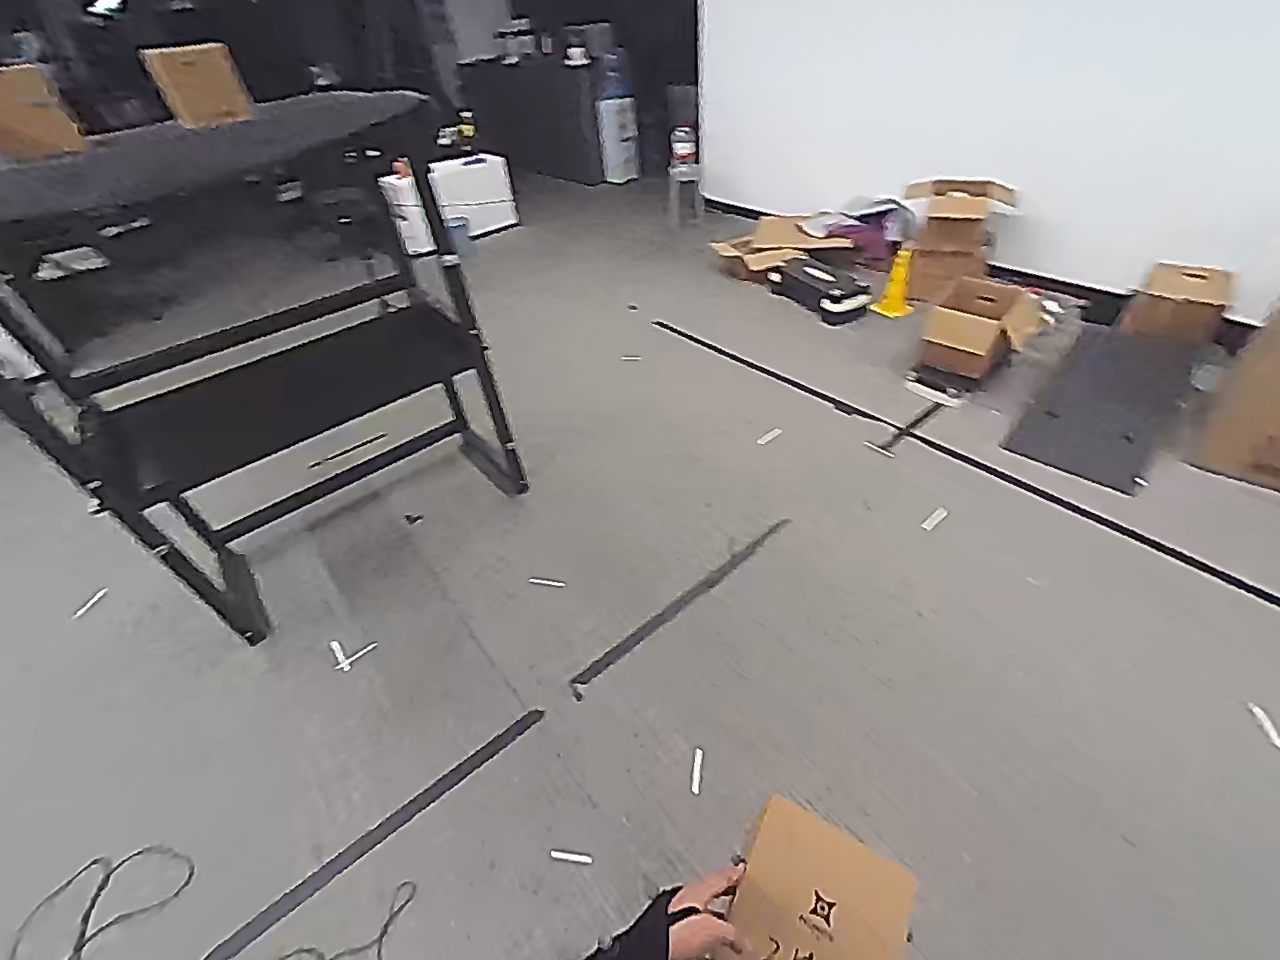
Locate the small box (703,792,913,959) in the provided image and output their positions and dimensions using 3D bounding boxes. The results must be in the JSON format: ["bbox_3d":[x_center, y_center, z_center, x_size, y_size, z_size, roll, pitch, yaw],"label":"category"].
[{"bbox_3d":[0.180,0.499,0.610,0.168,0.176,0.179,22,51,20],"label":"small box"}]

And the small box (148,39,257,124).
[{"bbox_3d":[-1.190,-1.087,1.476,0.168,0.176,0.179,-32,48,-26],"label":"small box"}]
